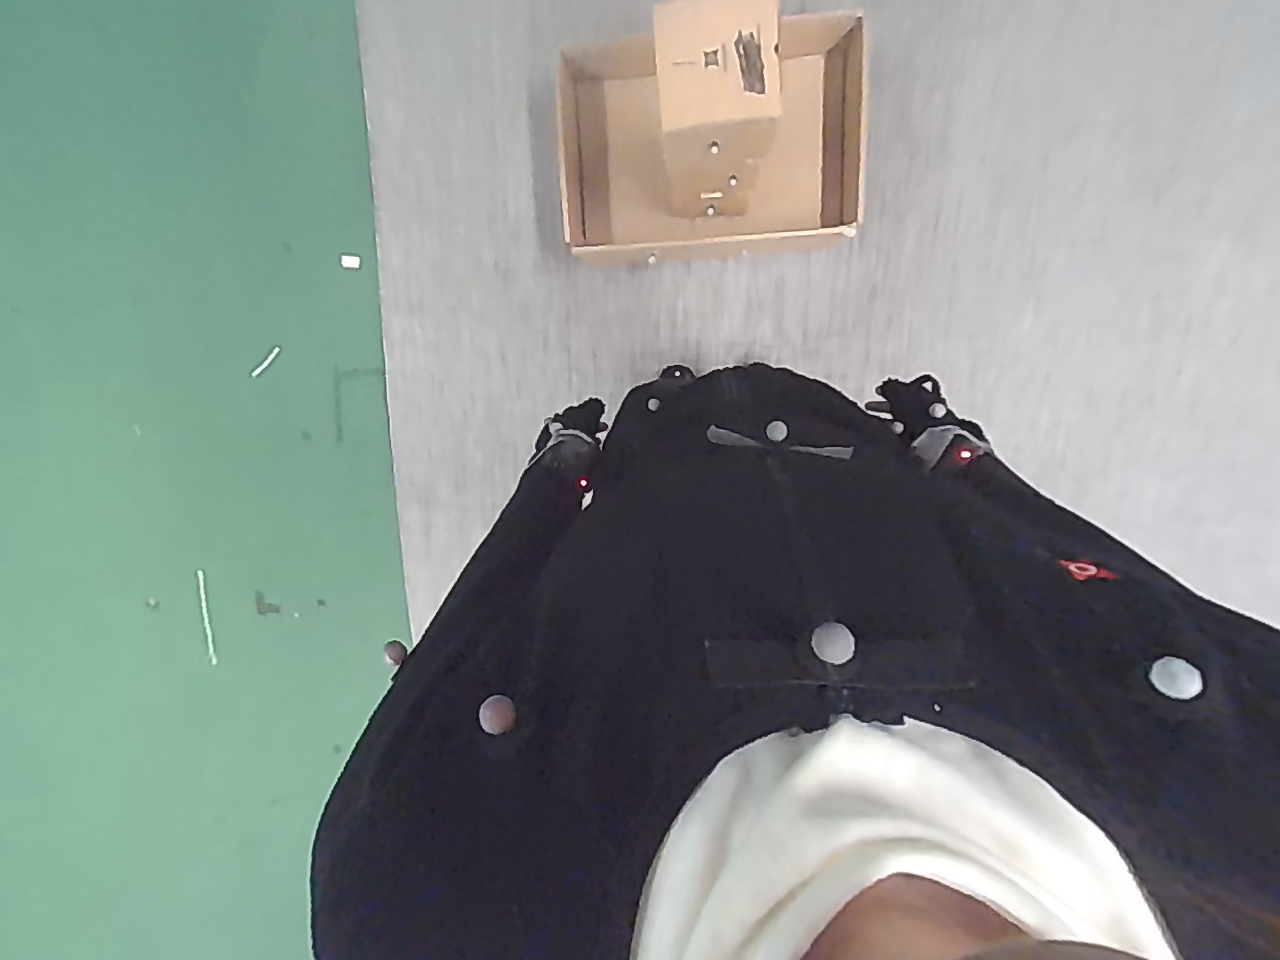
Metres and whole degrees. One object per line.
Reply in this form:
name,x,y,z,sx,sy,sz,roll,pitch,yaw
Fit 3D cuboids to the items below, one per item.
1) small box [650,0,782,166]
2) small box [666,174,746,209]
small box,0.114,-0.614,0.840,0.179,0.176,0.168,-7,102,6
small box,0.145,-0.691,1.155,0.168,0.176,0.179,2,103,6
